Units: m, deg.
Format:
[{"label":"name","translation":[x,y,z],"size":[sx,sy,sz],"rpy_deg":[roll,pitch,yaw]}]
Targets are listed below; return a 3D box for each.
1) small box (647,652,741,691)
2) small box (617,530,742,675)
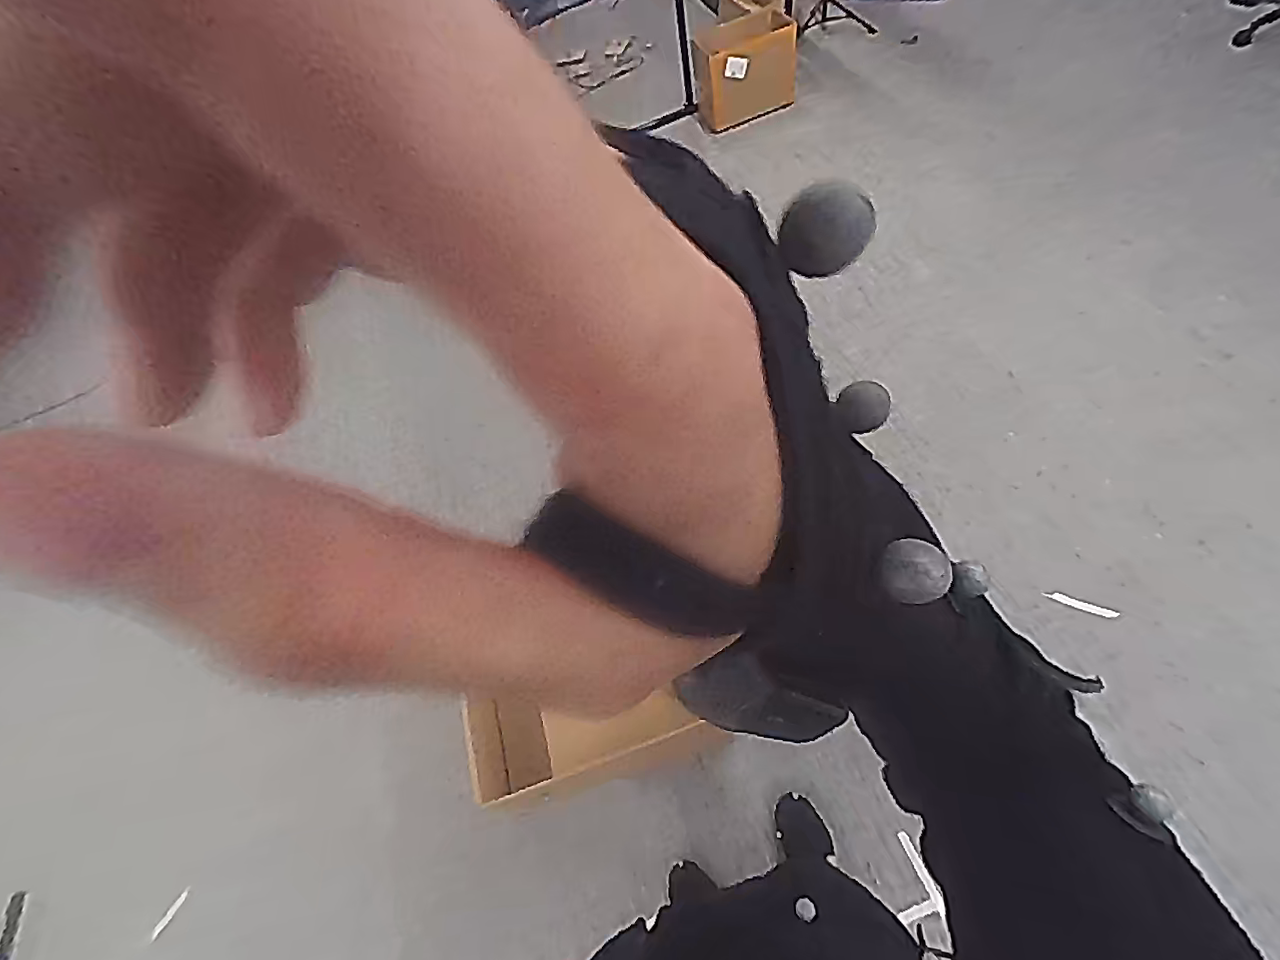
[{"label":"small box","translation":[0.100,0.312,1.085],"size":[0.168,0.176,0.179],"rpy_deg":[-16,56,3]},{"label":"small box","translation":[0.072,0.220,0.953],"size":[0.168,0.176,0.179],"rpy_deg":[-19,56,2]}]
